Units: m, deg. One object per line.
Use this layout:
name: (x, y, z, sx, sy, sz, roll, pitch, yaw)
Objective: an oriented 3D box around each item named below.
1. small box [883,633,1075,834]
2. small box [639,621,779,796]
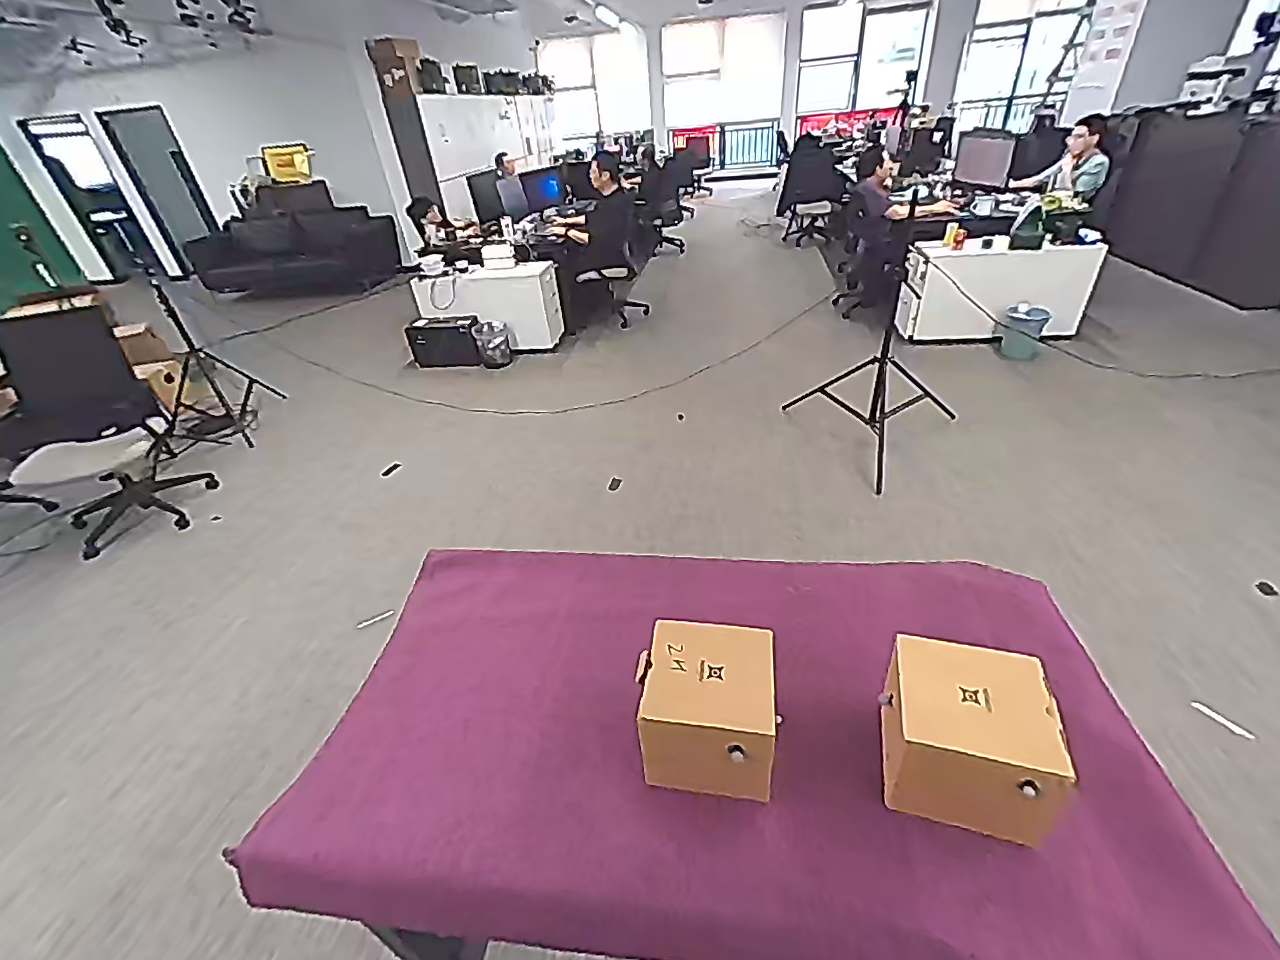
small box: (0.429, 0.336, 0.724, 0.179, 0.176, 0.168, 6, 36, 17)
small box: (0.104, 0.331, 0.785, 0.179, 0.176, 0.168, 1, 34, 11)
